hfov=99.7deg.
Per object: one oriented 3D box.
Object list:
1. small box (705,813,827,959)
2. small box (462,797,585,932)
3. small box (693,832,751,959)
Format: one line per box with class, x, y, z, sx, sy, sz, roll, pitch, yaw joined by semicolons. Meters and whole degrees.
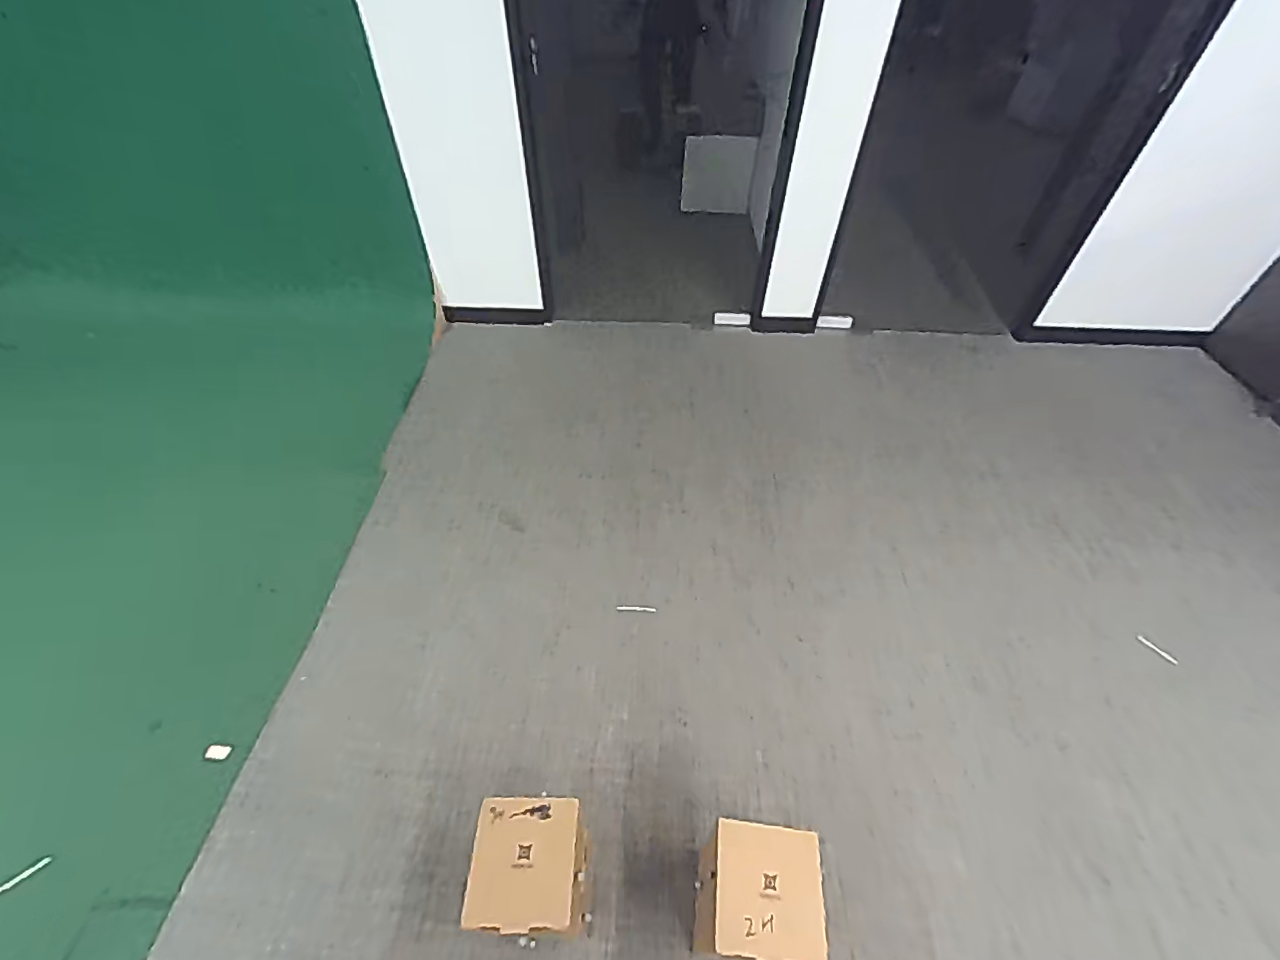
small box;0.201;0.686;0.904;0.168;0.176;0.179;6;49;4
small box;-0.185;0.656;0.920;0.168;0.176;0.179;1;49;-1
small box;0.194;0.798;1.026;0.168;0.176;0.179;8;50;5
